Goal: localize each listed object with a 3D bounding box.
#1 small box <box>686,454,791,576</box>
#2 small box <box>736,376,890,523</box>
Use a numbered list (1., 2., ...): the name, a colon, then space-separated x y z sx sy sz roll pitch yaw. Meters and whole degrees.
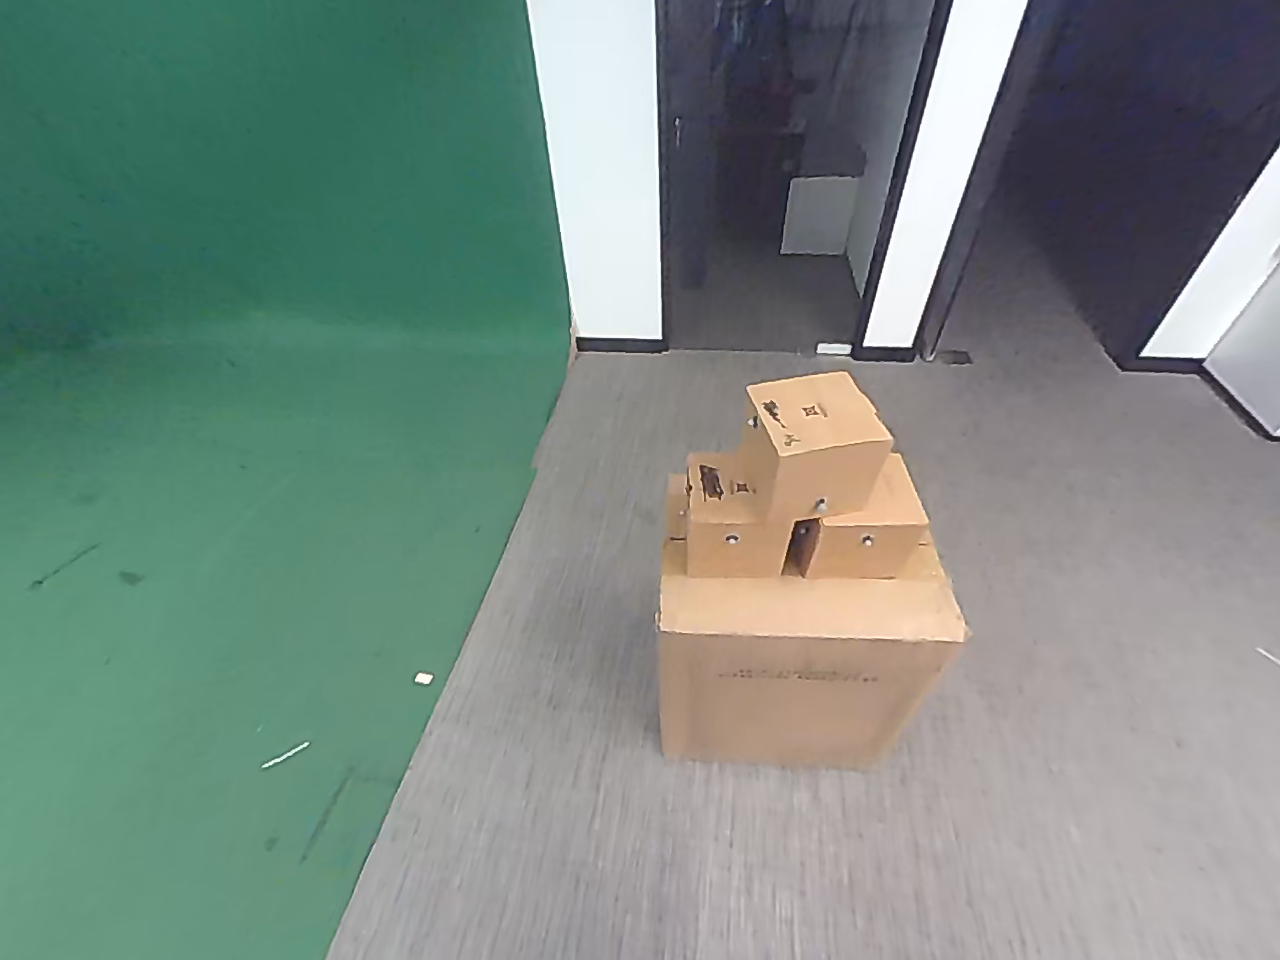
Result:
1. small box: 0.175 0.067 1.016 0.179 0.176 0.168 0 48 3
2. small box: 0.272 -0.049 0.896 0.179 0.176 0.168 -8 48 -6
